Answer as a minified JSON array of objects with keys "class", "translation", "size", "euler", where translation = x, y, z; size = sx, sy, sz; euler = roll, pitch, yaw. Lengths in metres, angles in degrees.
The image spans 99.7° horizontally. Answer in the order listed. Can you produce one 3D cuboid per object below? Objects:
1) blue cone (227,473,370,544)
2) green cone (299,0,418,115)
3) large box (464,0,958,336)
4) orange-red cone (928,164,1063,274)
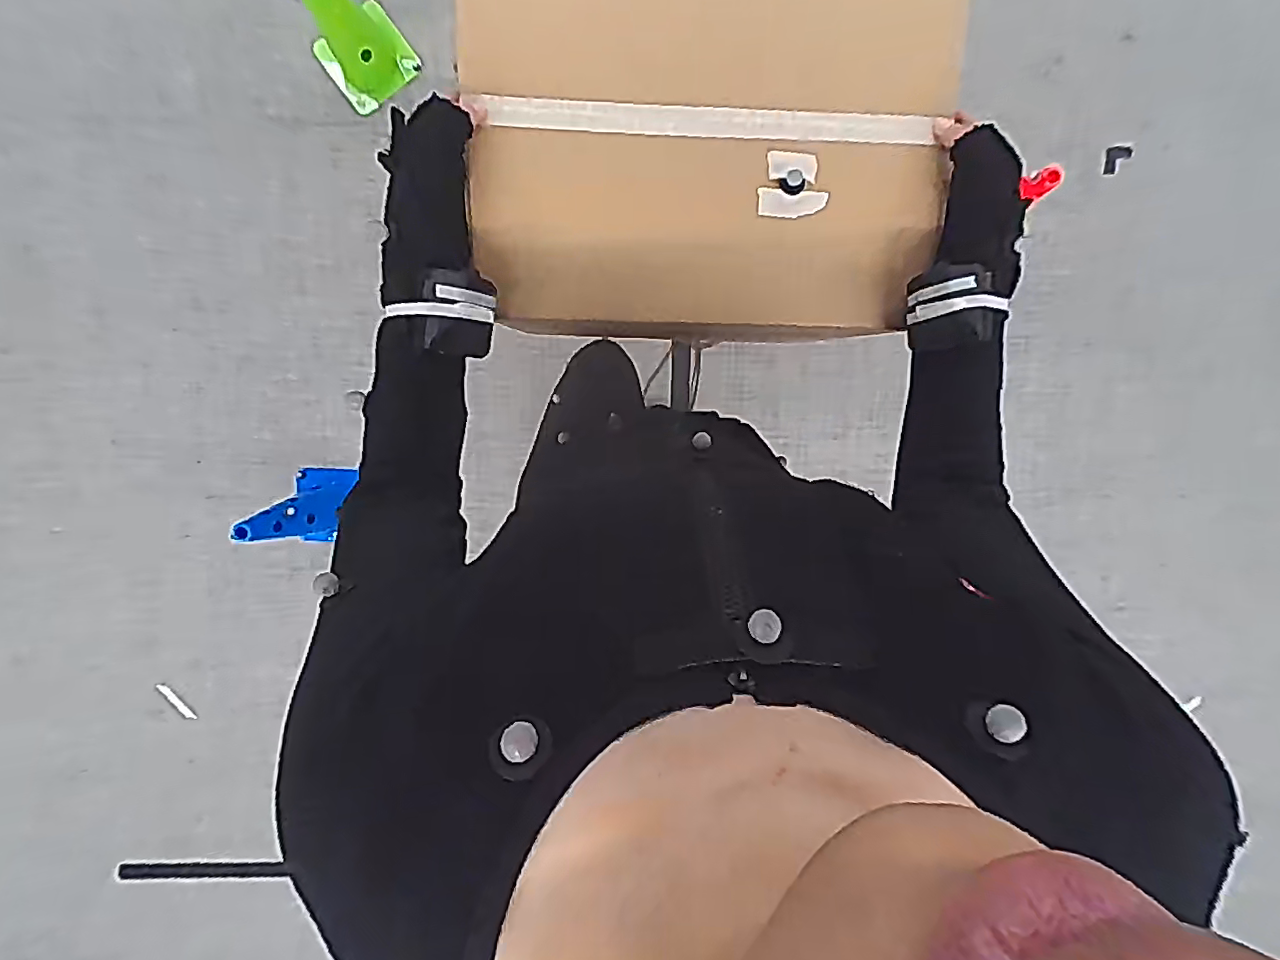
[{"class":"blue cone","translation":[-0.827,0.095,1.302],"size":[0.192,0.380,0.193],"euler":[3,96,-1]},{"class":"green cone","translation":[-0.674,-1.018,1.160],"size":[0.202,0.368,0.200],"euler":[-37,95,4]},{"class":"large box","translation":[0.049,-0.328,0.592],"size":[0.408,0.320,0.320],"euler":[0,102,-4]},{"class":"orange-red cone","translation":[0.810,-0.625,1.241],"size":[0.198,0.360,0.199],"euler":[-3,95,-2]}]
